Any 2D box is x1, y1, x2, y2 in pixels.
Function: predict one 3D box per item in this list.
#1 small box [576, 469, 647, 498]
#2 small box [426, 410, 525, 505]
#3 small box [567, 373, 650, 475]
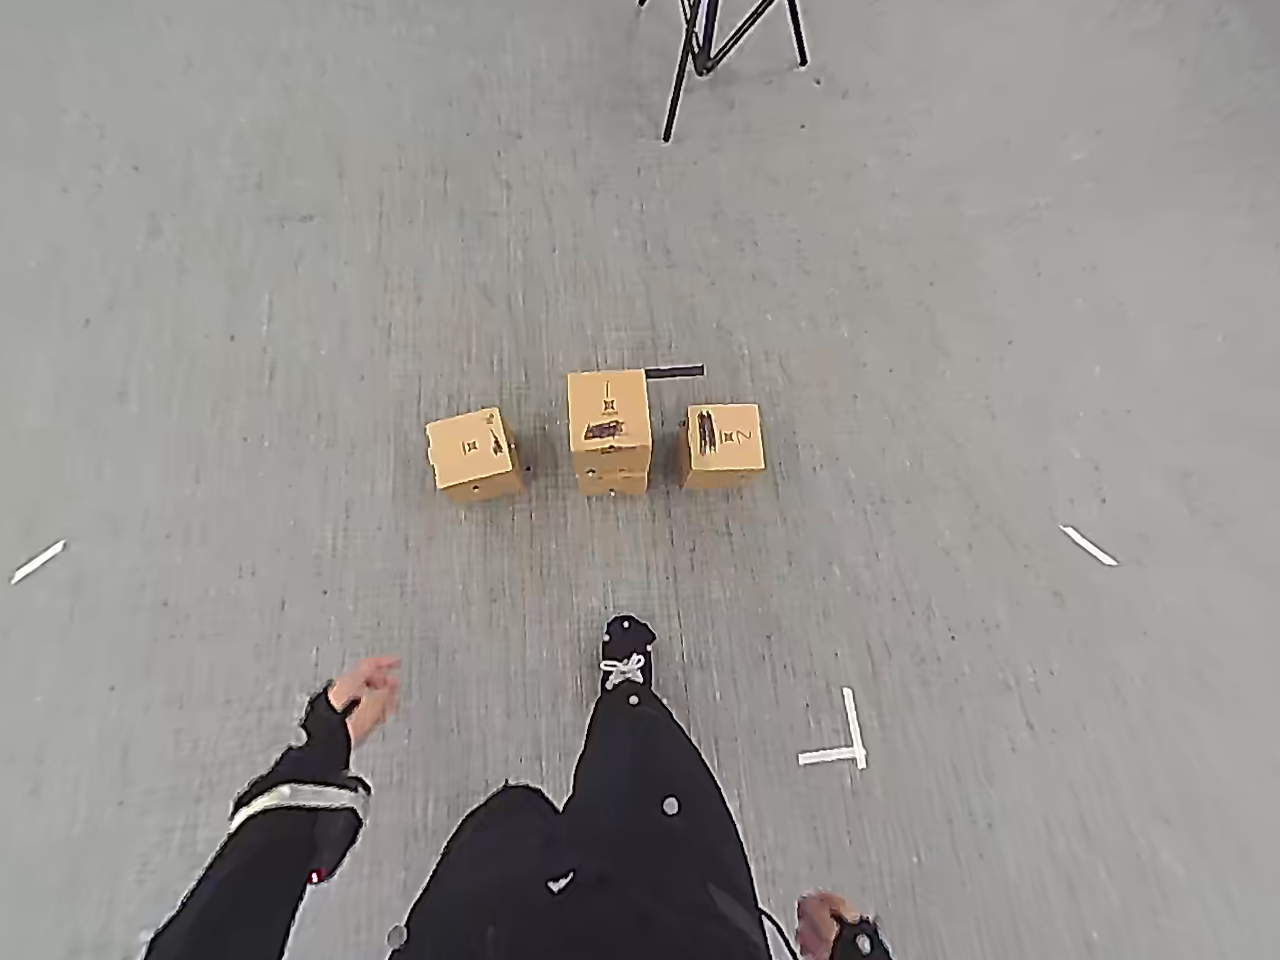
[{"bbox_3d":[-0.069,-0.060,1.338,0.168,0.176,0.179,-1,74,-2],"label":"small box"},{"bbox_3d":[-0.398,-0.048,1.324,0.179,0.176,0.168,-15,76,-5],"label":"small box"},{"bbox_3d":[-0.067,-0.115,1.182,0.168,0.176,0.179,-4,73,-3],"label":"small box"}]
